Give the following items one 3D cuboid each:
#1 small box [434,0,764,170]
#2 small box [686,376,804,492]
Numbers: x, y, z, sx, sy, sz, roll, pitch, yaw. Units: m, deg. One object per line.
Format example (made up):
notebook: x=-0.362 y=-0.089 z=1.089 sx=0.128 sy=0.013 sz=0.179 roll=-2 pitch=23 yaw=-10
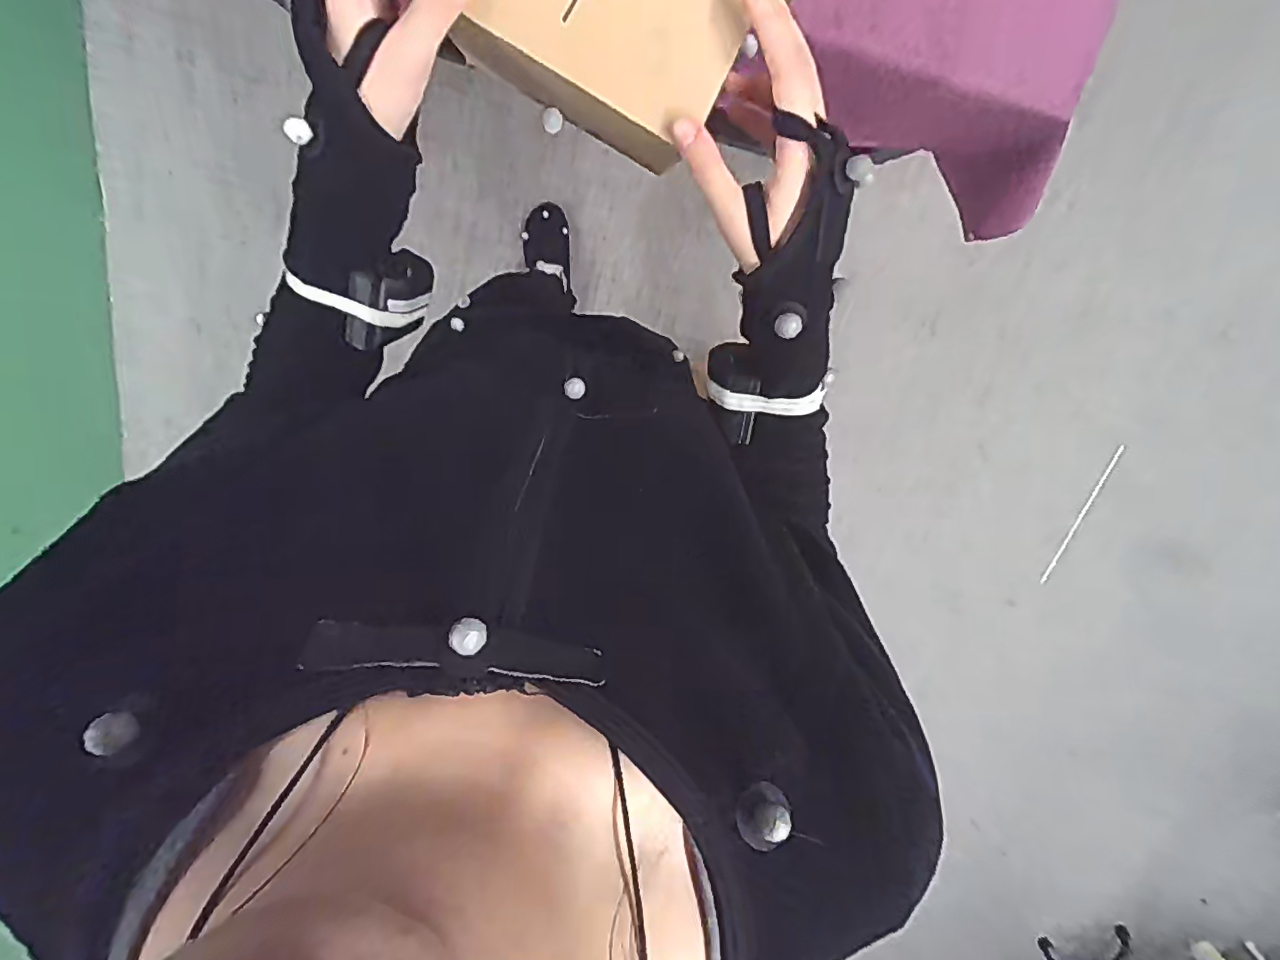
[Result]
small box: x=-0.013 y=-0.317 z=0.324 sx=0.168 sy=0.176 sz=0.179 roll=25 pitch=113 yaw=-16
small box: x=0.201 y=-0.101 z=1.096 sx=0.168 sy=0.176 sz=0.179 roll=13 pitch=109 yaw=-9
